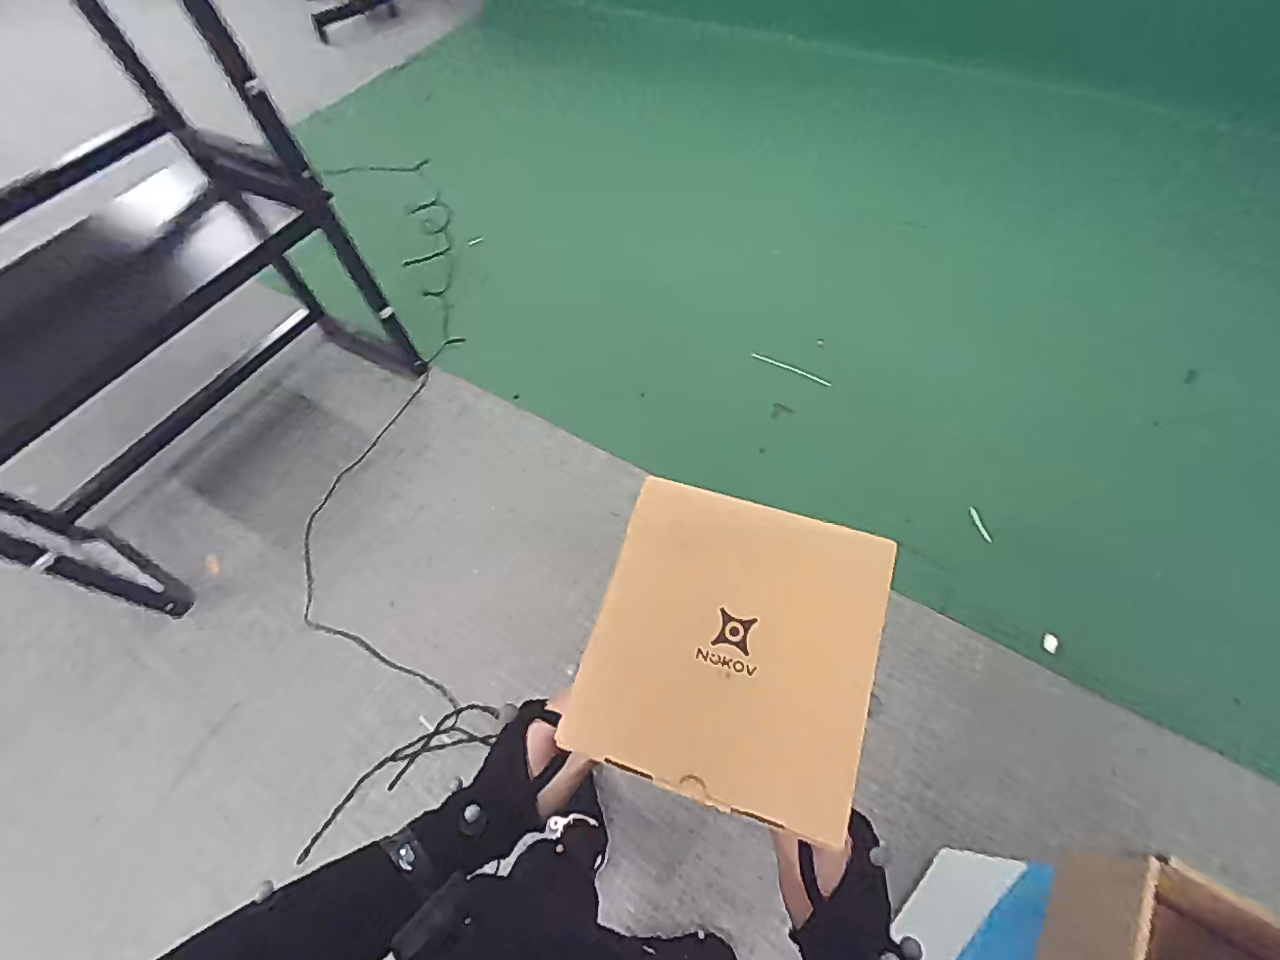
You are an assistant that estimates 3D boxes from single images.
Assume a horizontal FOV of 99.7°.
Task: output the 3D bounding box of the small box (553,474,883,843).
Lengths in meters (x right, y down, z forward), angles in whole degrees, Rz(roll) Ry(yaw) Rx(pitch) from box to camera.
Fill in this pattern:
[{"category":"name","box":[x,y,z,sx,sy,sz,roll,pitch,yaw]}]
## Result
[{"category":"small box","box":[0.056,0.121,0.398,0.168,0.176,0.179,14,72,11]}]
